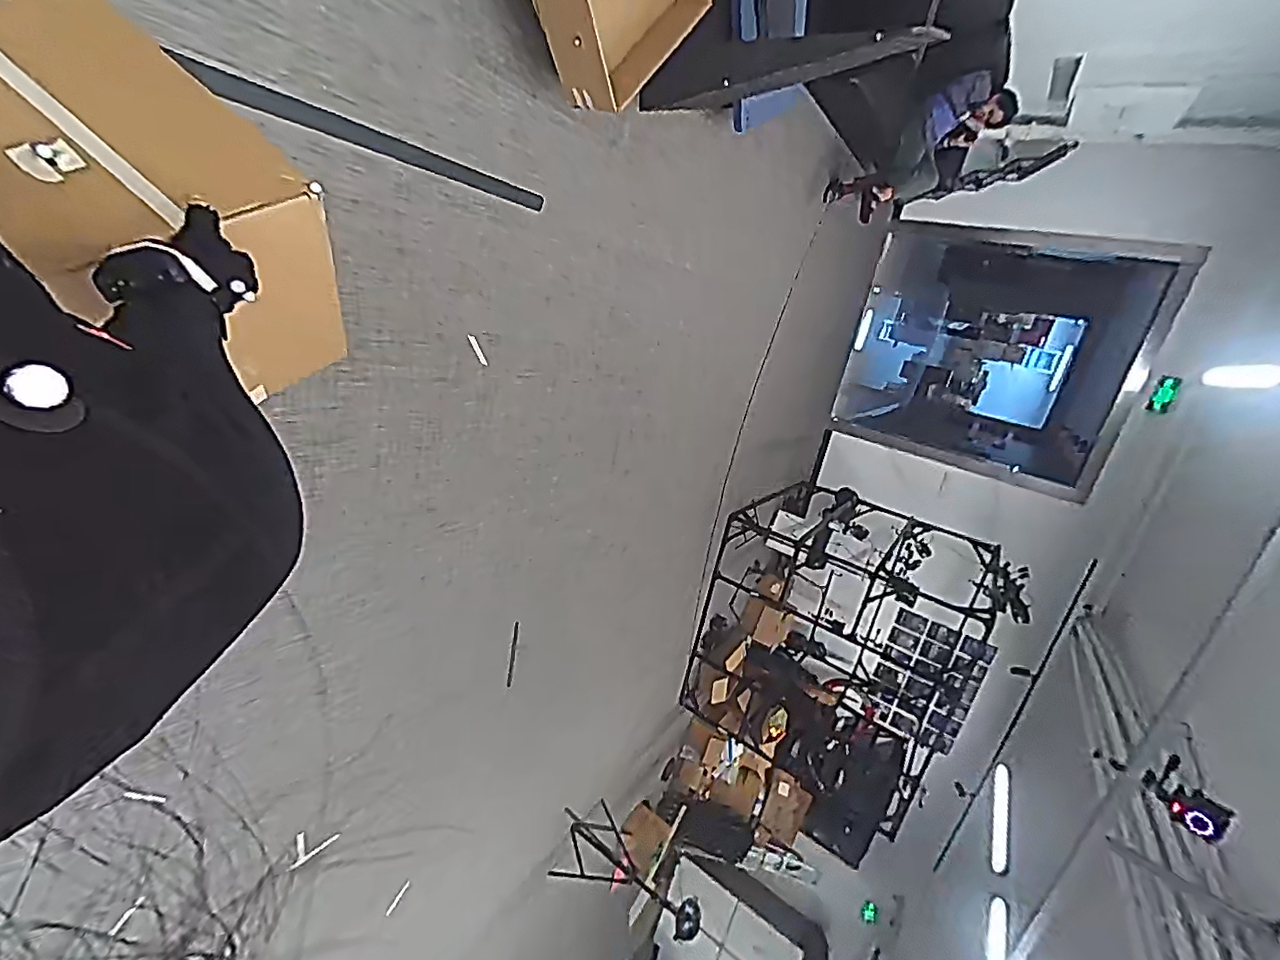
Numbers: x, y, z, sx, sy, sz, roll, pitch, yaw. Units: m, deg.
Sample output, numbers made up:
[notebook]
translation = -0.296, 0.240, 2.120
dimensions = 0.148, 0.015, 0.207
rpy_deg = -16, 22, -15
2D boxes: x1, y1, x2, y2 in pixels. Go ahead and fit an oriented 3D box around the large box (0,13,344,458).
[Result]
[large box]
translation = -0.681, -0.310, 0.719
dimensions = 0.320, 0.408, 0.320
rpy_deg = -47, 177, -33
